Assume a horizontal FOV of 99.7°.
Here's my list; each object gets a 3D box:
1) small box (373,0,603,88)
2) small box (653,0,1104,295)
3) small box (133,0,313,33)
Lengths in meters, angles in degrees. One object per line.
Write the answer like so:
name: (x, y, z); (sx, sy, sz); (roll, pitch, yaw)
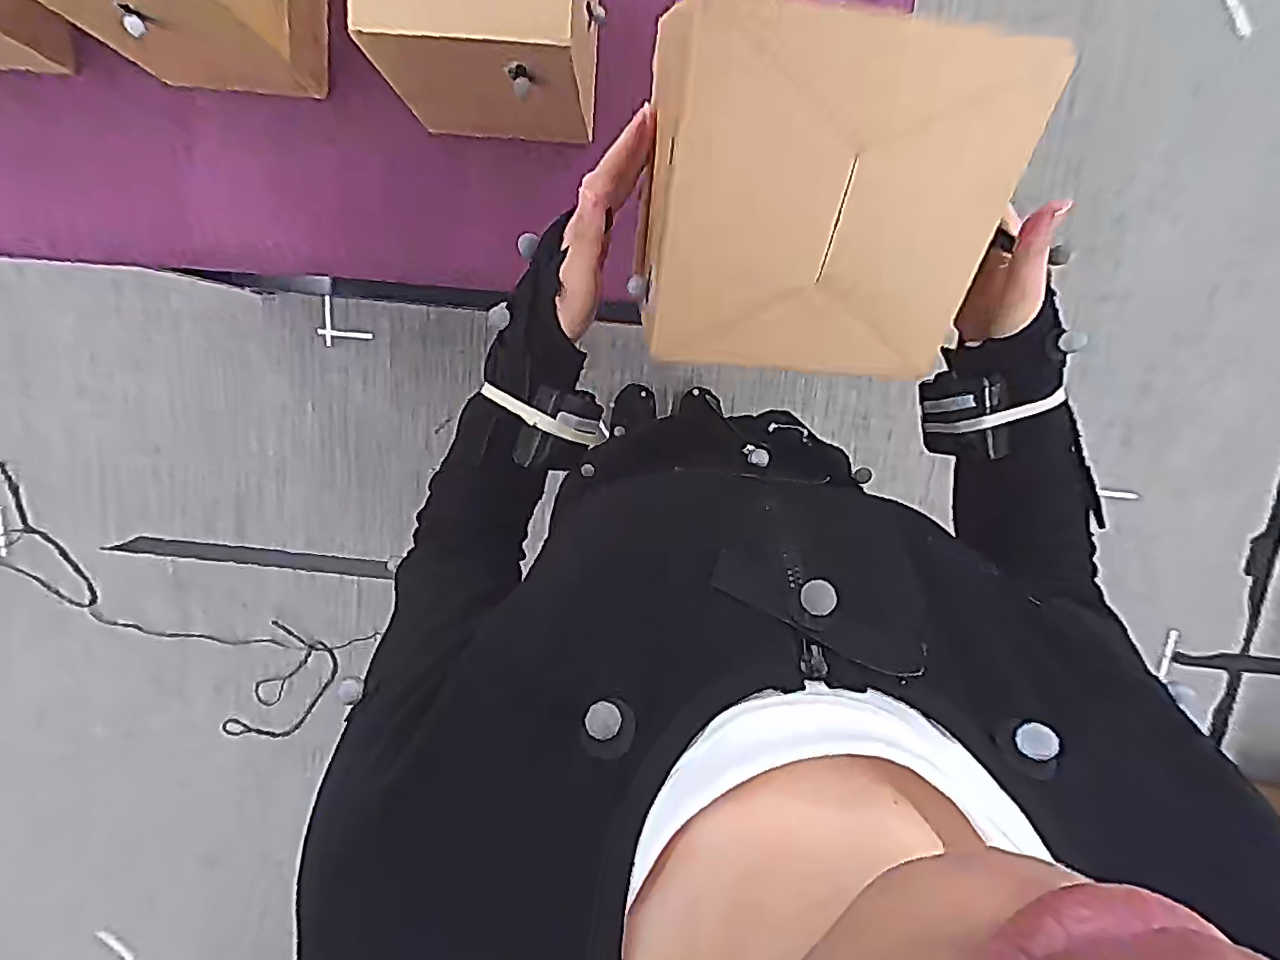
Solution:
small box: (-0.119, -0.458, 0.447); (0.179, 0.176, 0.168); (5, 102, 0)
small box: (0.097, -0.218, 0.301); (0.179, 0.176, 0.168); (1, 84, 2)
small box: (-0.393, -0.510, 0.443); (0.179, 0.176, 0.168); (7, 103, 0)
